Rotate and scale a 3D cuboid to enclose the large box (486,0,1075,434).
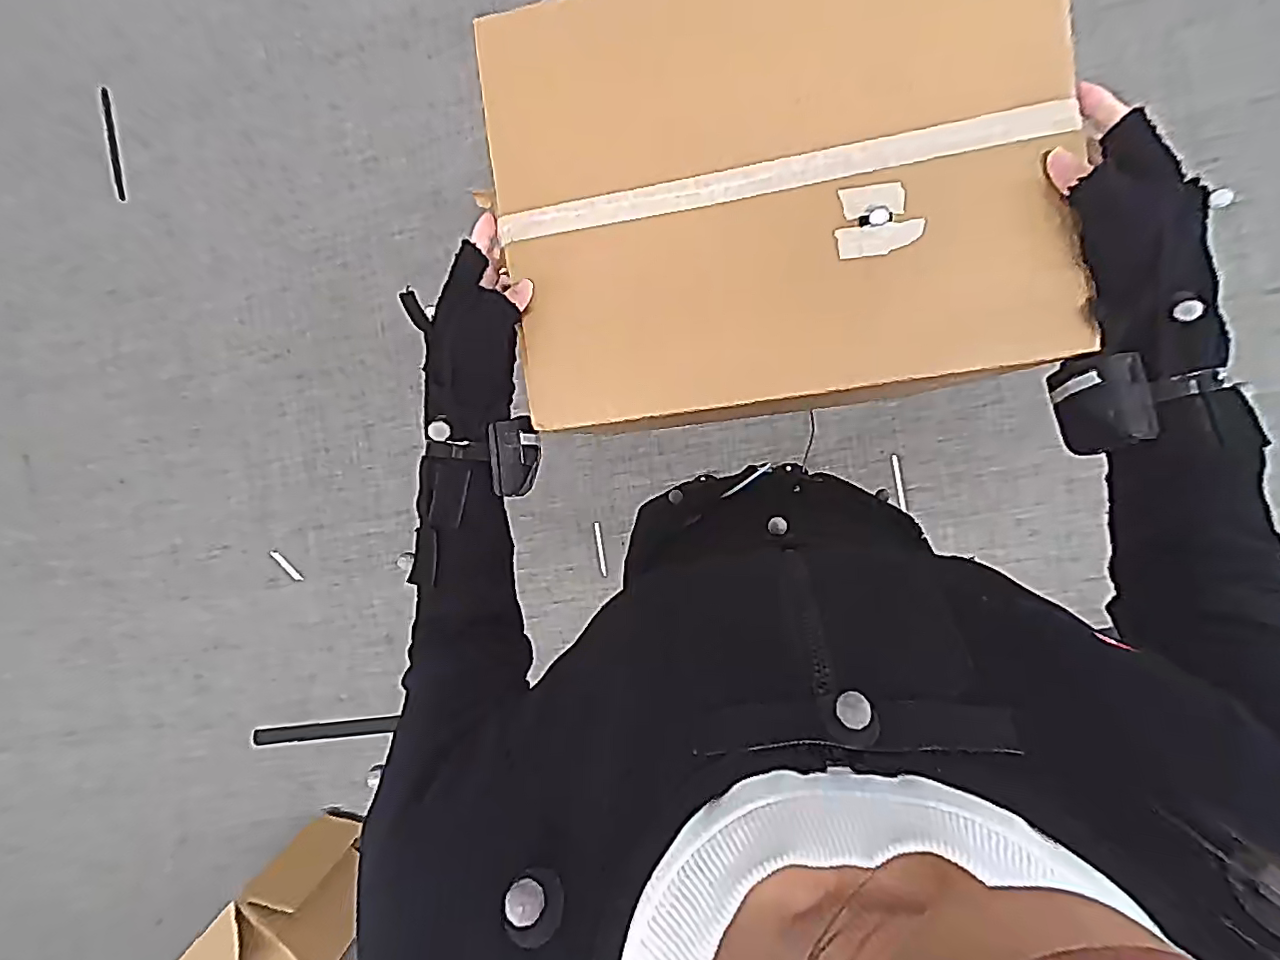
[{"bbox_3d":[0.110,-0.231,0.550,0.408,0.320,0.320,-8,94,7],"label":"large box"}]
